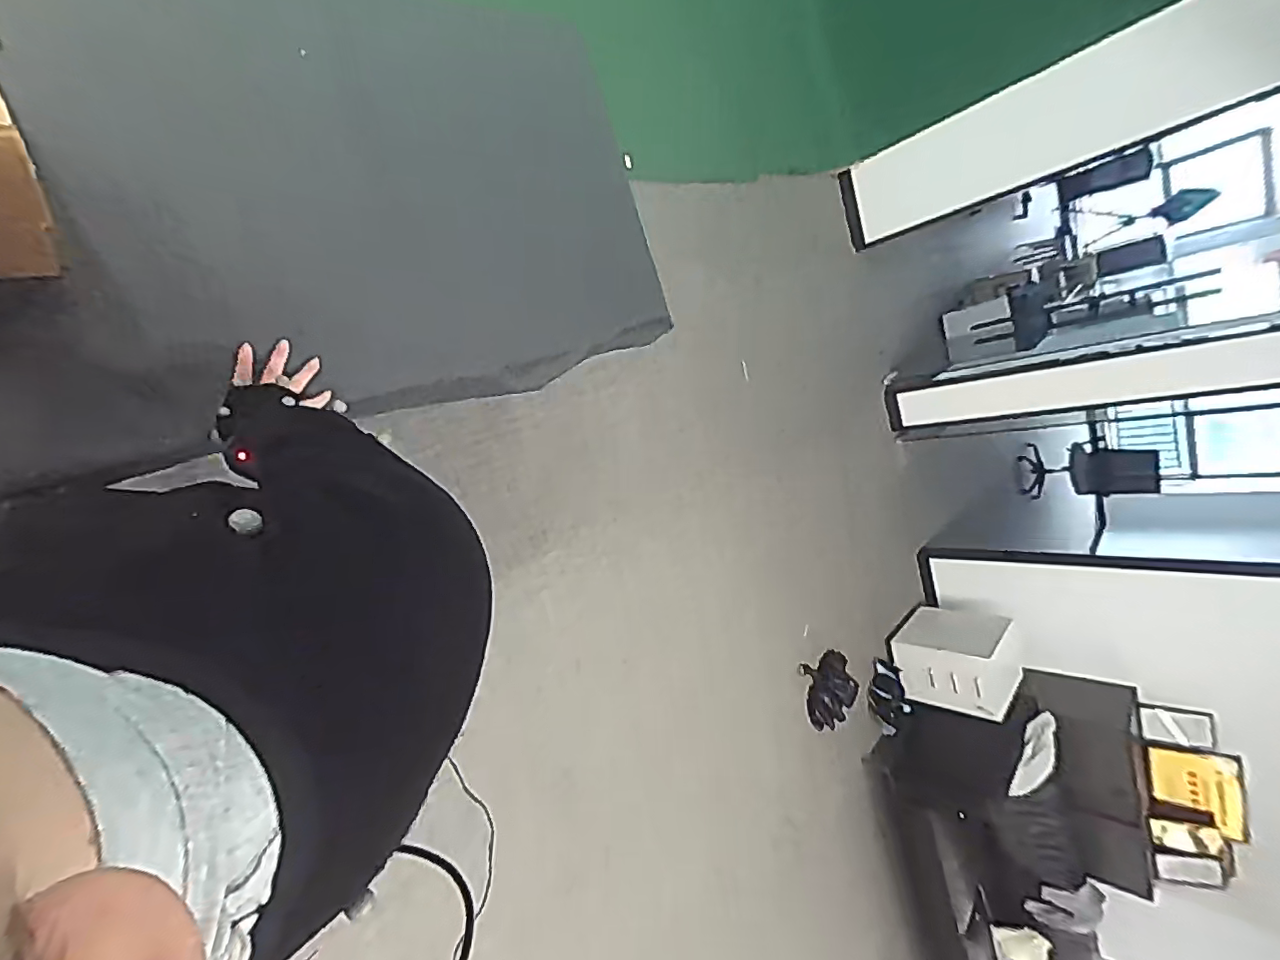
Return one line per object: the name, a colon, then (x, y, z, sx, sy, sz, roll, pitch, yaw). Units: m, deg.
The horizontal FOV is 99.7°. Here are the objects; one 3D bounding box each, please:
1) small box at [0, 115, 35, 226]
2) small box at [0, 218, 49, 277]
small box: (-0.551, -0.276, 0.347, 0.168, 0.176, 0.179, -30, 105, -40)
small box: (-0.664, -0.279, 0.464, 0.168, 0.176, 0.179, -27, 105, -41)
